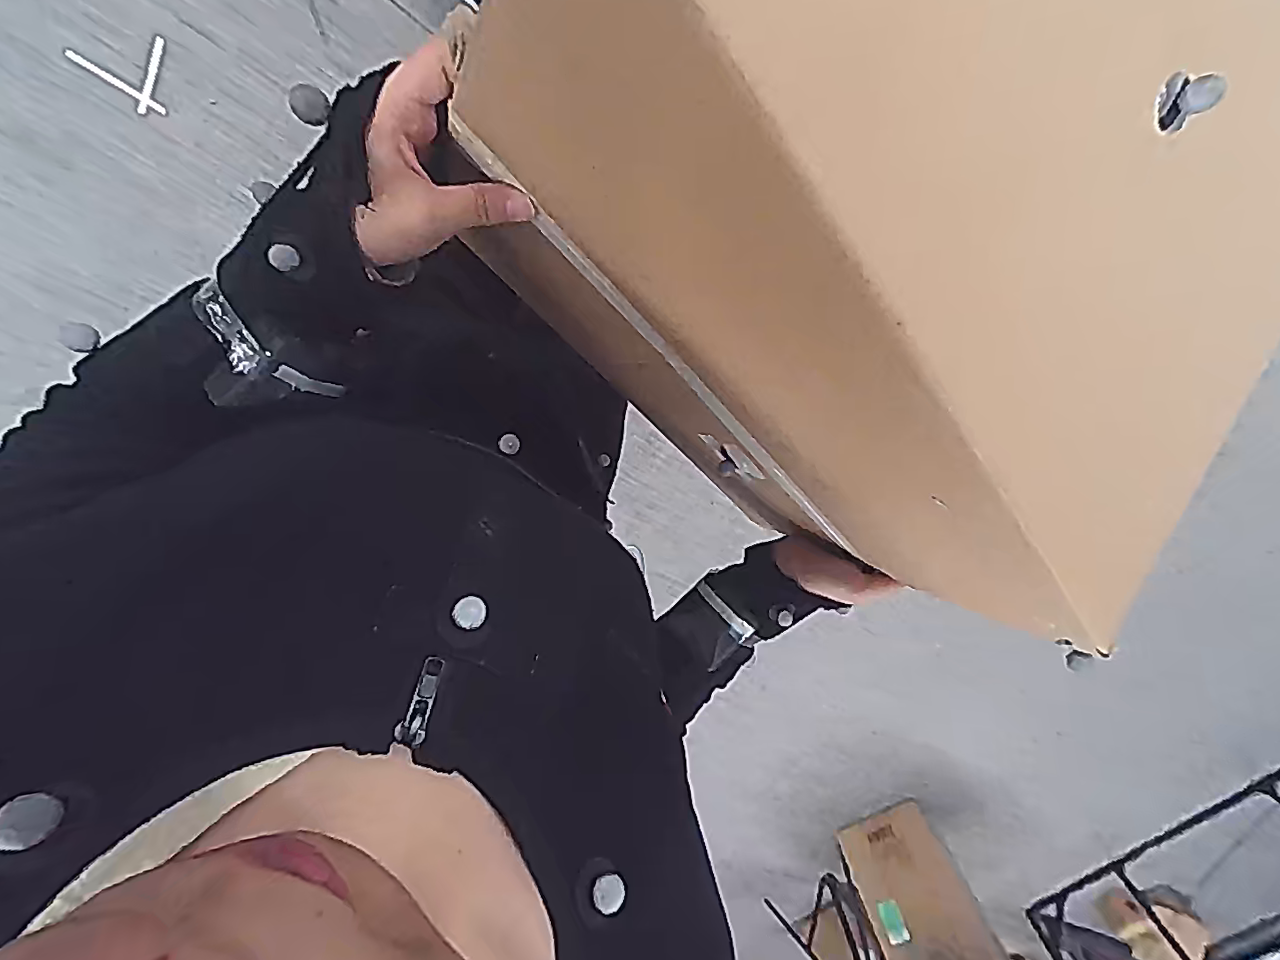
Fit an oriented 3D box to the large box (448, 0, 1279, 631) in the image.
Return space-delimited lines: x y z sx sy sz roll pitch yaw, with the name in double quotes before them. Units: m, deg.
"large box" 0.157 -0.185 0.330 0.408 0.320 0.320 40 83 -26
